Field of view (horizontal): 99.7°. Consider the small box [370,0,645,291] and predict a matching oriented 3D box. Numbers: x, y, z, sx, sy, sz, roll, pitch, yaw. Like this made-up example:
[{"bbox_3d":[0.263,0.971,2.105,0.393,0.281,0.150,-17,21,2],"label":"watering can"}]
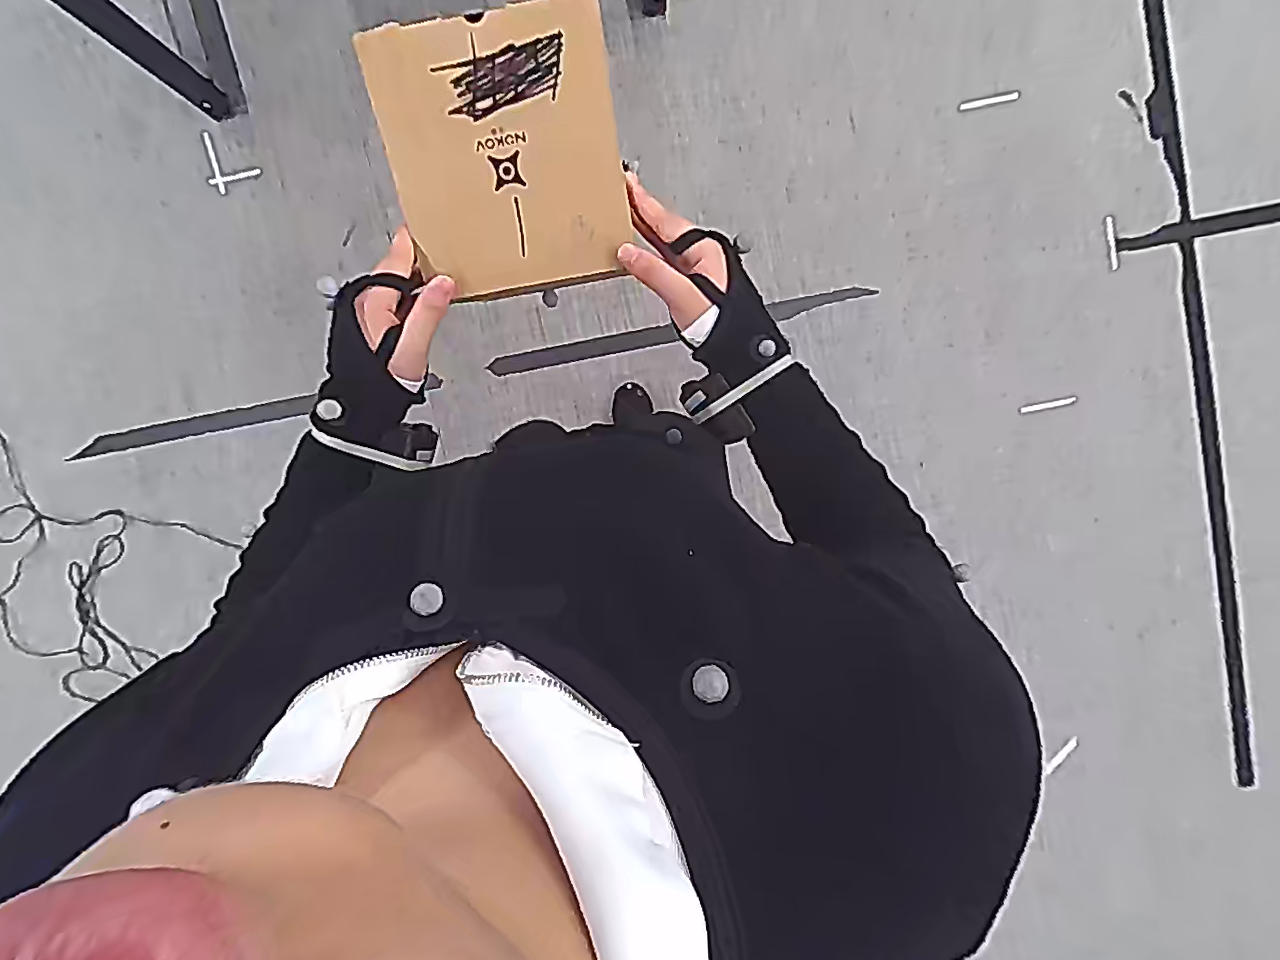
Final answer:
[{"bbox_3d":[-0.091,-0.265,0.462,0.168,0.176,0.179,-9,109,3],"label":"small box"}]
